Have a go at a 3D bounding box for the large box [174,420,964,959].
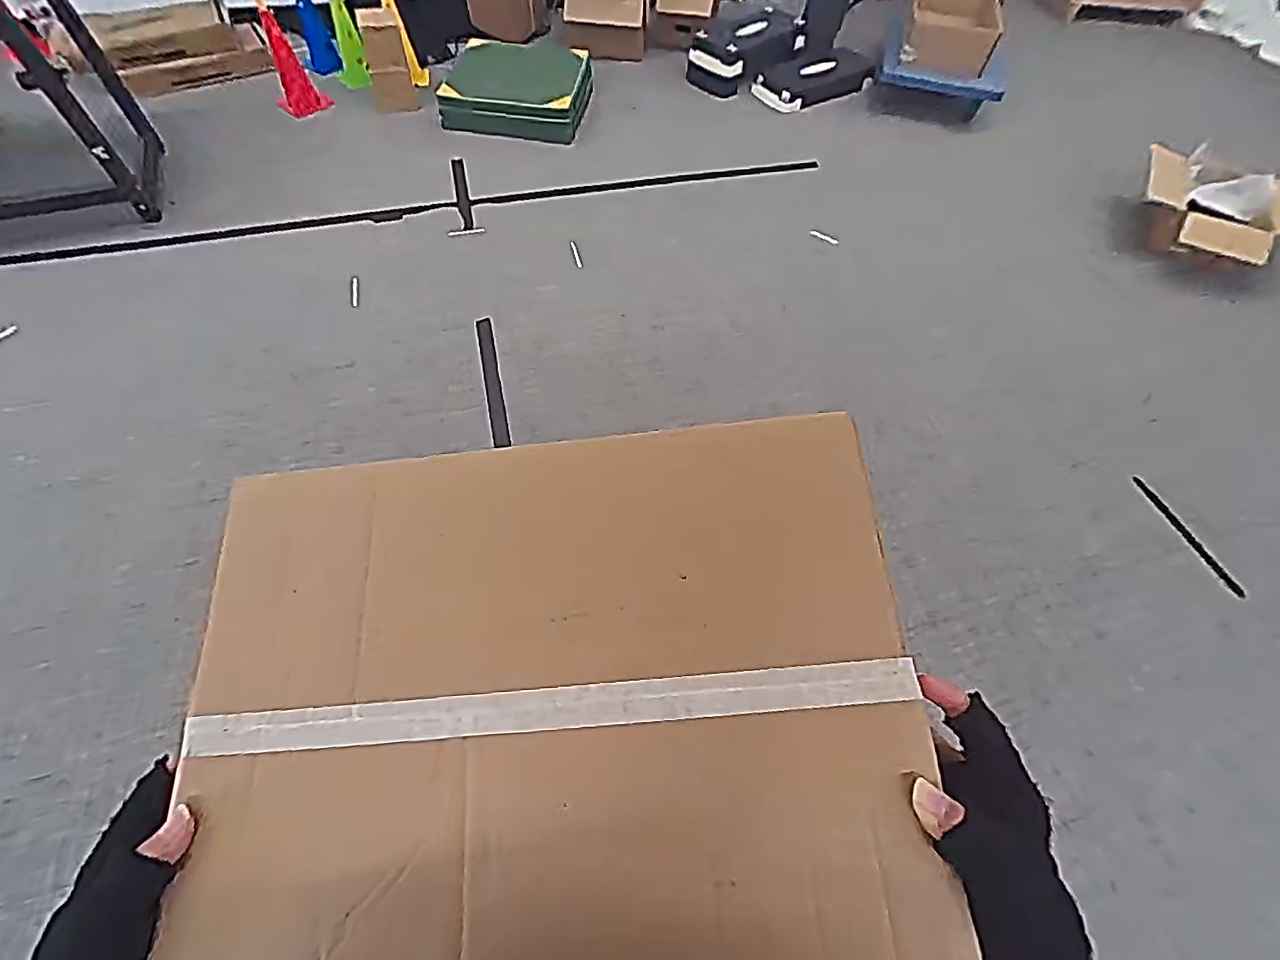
[{"bbox_3d":[-0.040,0.174,0.446,0.408,0.320,0.320,-6,70,4],"label":"large box"}]
